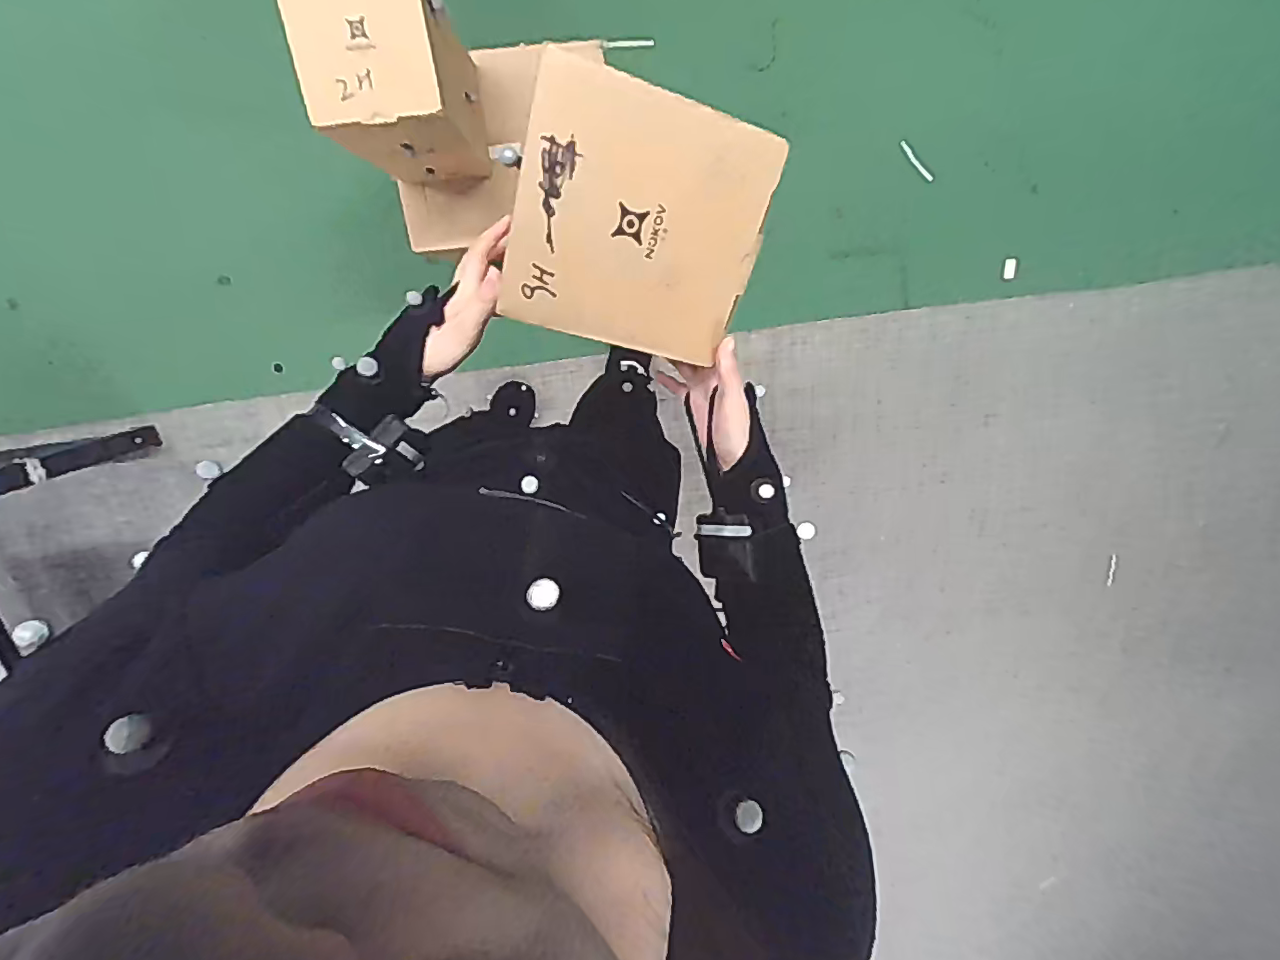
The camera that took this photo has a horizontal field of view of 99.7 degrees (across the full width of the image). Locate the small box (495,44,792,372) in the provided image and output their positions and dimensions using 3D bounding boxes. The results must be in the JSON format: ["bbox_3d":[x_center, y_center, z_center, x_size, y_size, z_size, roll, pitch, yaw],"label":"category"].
[{"bbox_3d":[-0.015,-0.204,0.442,0.179,0.176,0.168,11,111,-19],"label":"small box"}]

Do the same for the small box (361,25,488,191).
[{"bbox_3d":[-0.355,-0.589,0.877,0.168,0.176,0.179,-6,108,-2],"label":"small box"}]

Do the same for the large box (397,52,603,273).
[{"bbox_3d":[-0.261,-0.625,1.126,0.408,0.320,0.320,-6,108,-3],"label":"large box"}]

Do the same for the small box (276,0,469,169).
[{"bbox_3d":[-0.342,-0.539,0.720,0.168,0.176,0.179,-7,108,-2],"label":"small box"}]
